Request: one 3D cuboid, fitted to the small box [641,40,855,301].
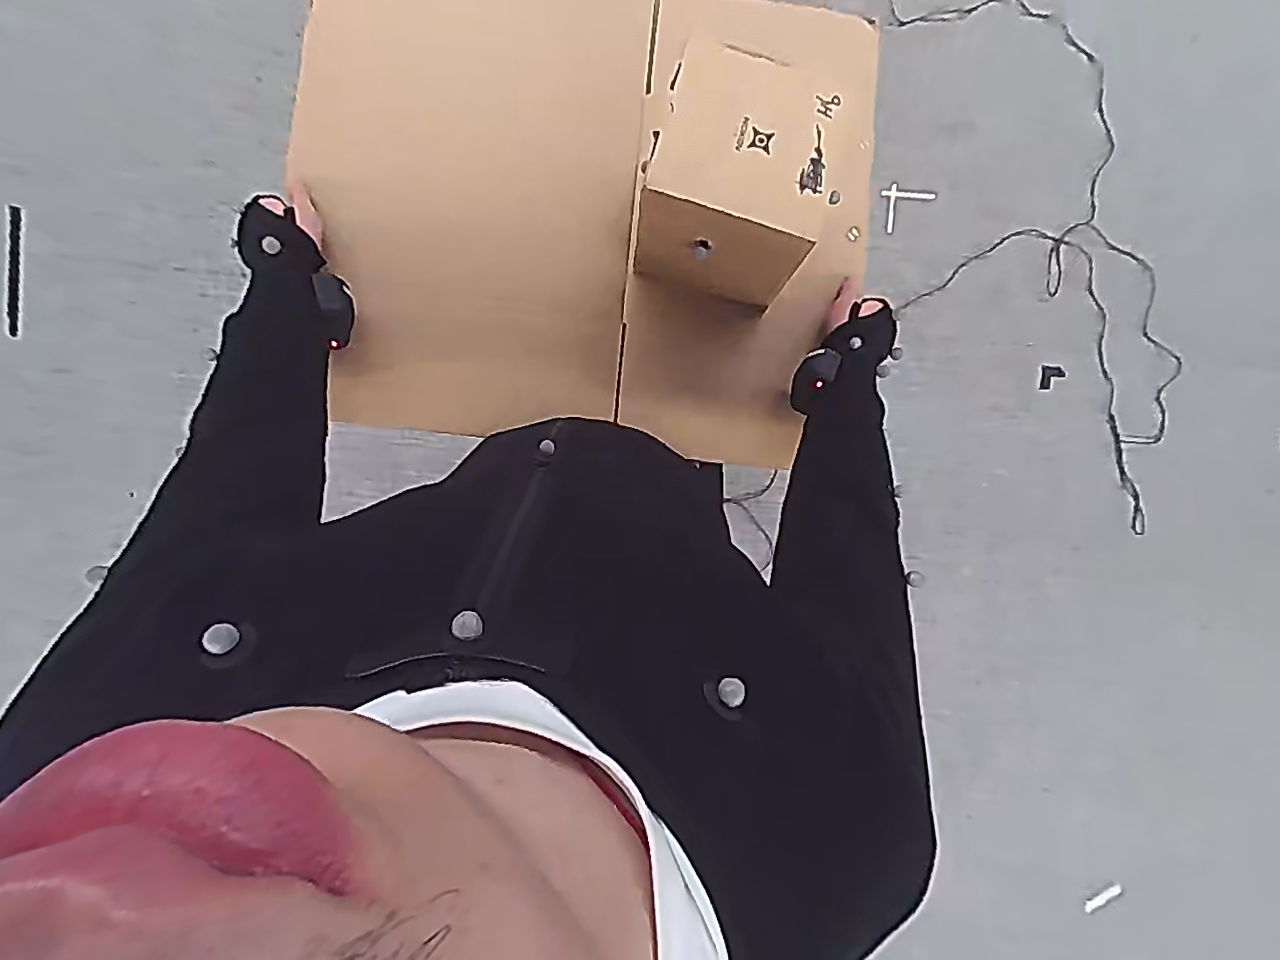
[{"bbox_3d":[0.104,-0.324,0.603,0.179,0.176,0.168,16,85,-1],"label":"small box"}]
